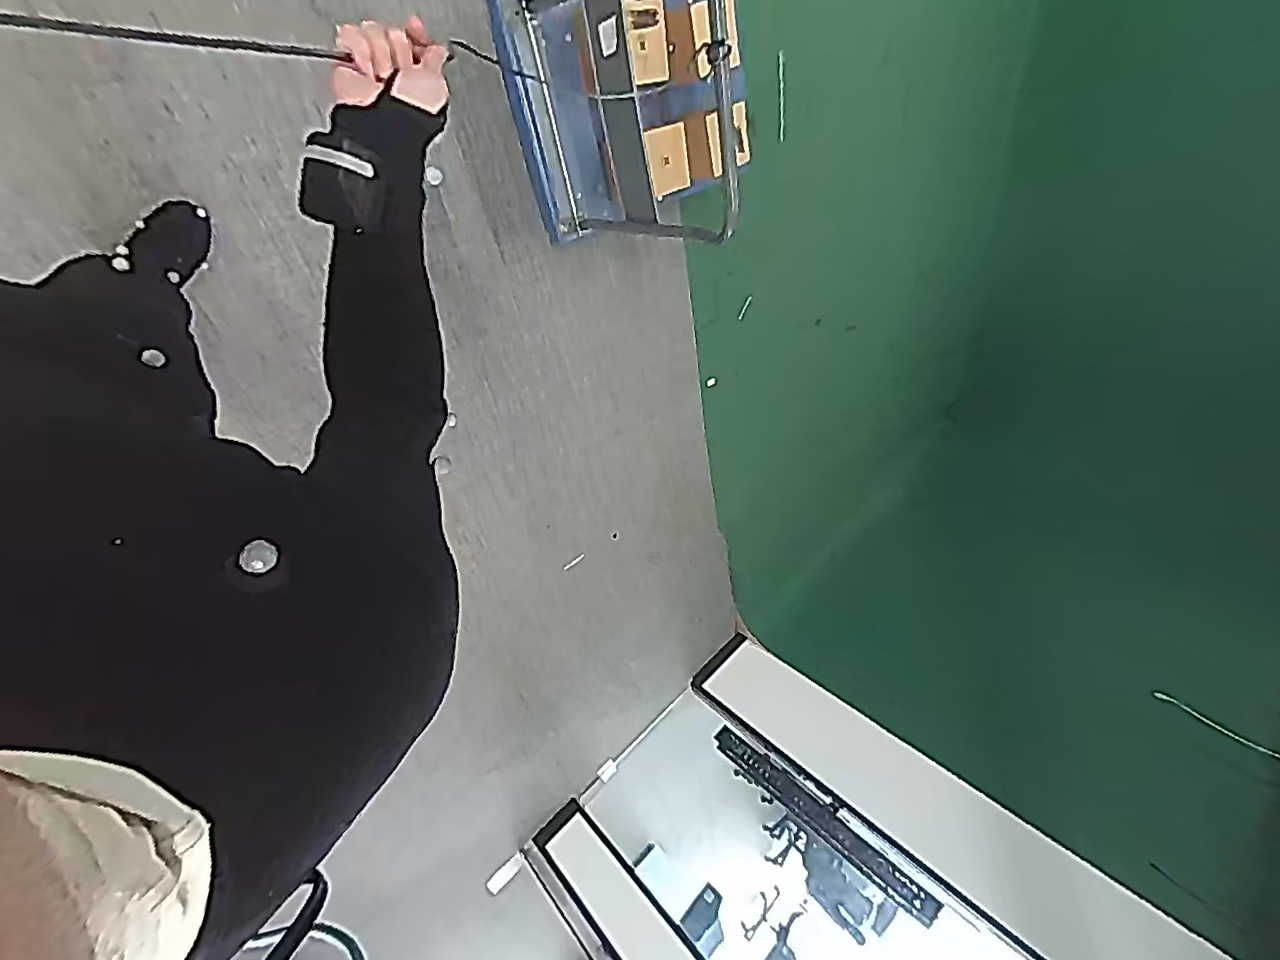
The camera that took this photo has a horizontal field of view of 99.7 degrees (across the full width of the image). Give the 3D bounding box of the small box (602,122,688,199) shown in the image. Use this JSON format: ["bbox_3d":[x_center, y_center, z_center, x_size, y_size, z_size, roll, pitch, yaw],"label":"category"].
[{"bbox_3d":[0.015,-0.933,1.580,0.179,0.176,0.168,-33,131,-27],"label":"small box"}]

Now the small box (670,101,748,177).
[{"bbox_3d":[0.213,-1.070,1.702,0.179,0.176,0.168,-37,131,-24],"label":"small box"}]

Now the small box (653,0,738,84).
[{"bbox_3d":[0.154,-1.259,1.547,0.179,0.176,0.168,-38,133,-25],"label":"small box"}]
